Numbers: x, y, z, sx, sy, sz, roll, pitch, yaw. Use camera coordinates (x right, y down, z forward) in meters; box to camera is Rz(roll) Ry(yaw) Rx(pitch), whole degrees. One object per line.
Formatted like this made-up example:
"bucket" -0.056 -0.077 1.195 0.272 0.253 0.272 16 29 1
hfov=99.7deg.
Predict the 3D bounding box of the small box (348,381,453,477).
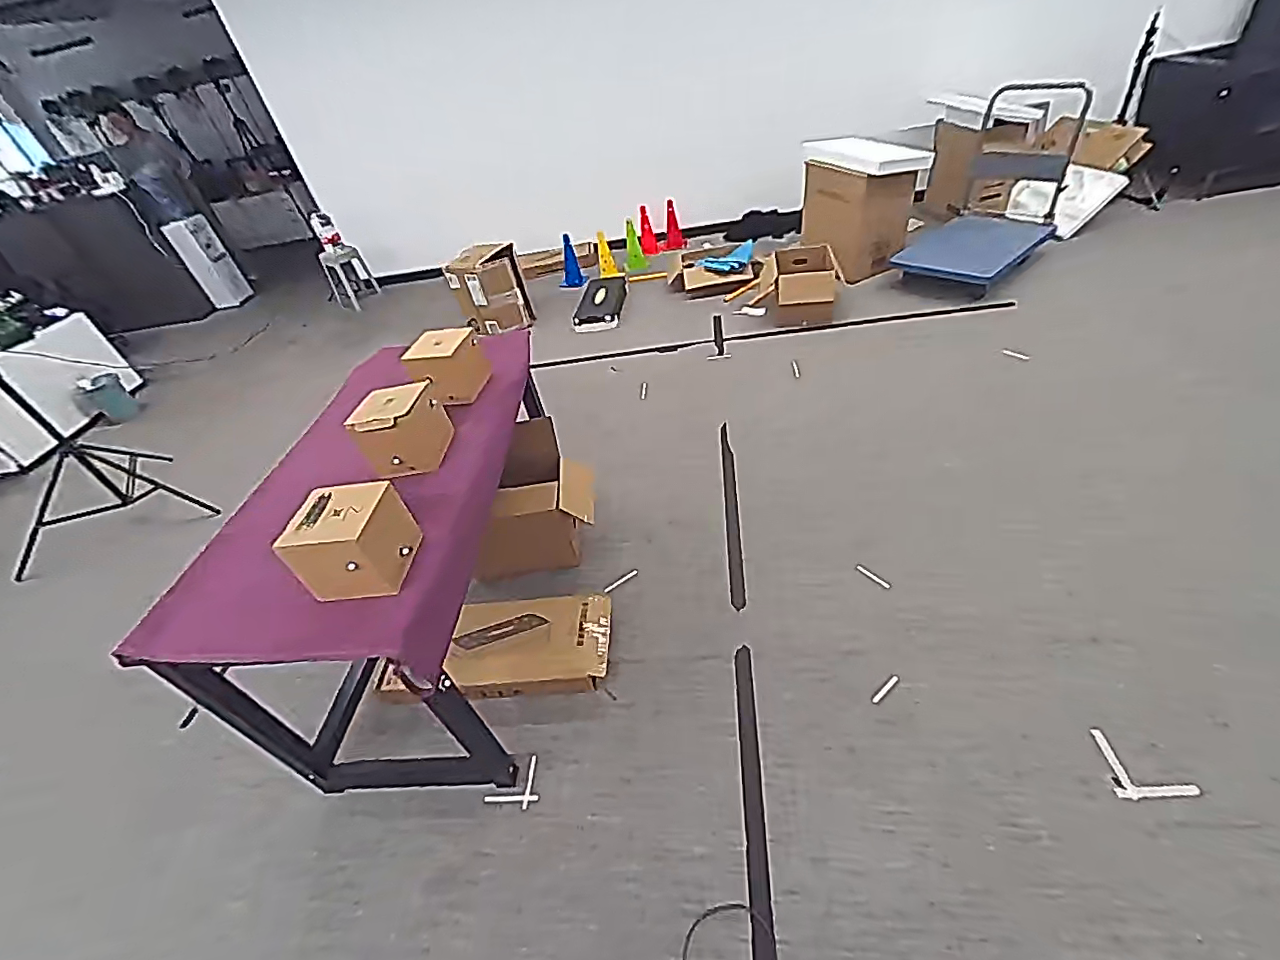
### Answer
"small box" -0.610 -0.131 1.404 0.168 0.176 0.179 -8 40 9

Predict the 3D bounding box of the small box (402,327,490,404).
"small box" -0.579 -0.341 1.642 0.168 0.176 0.179 -2 41 12
